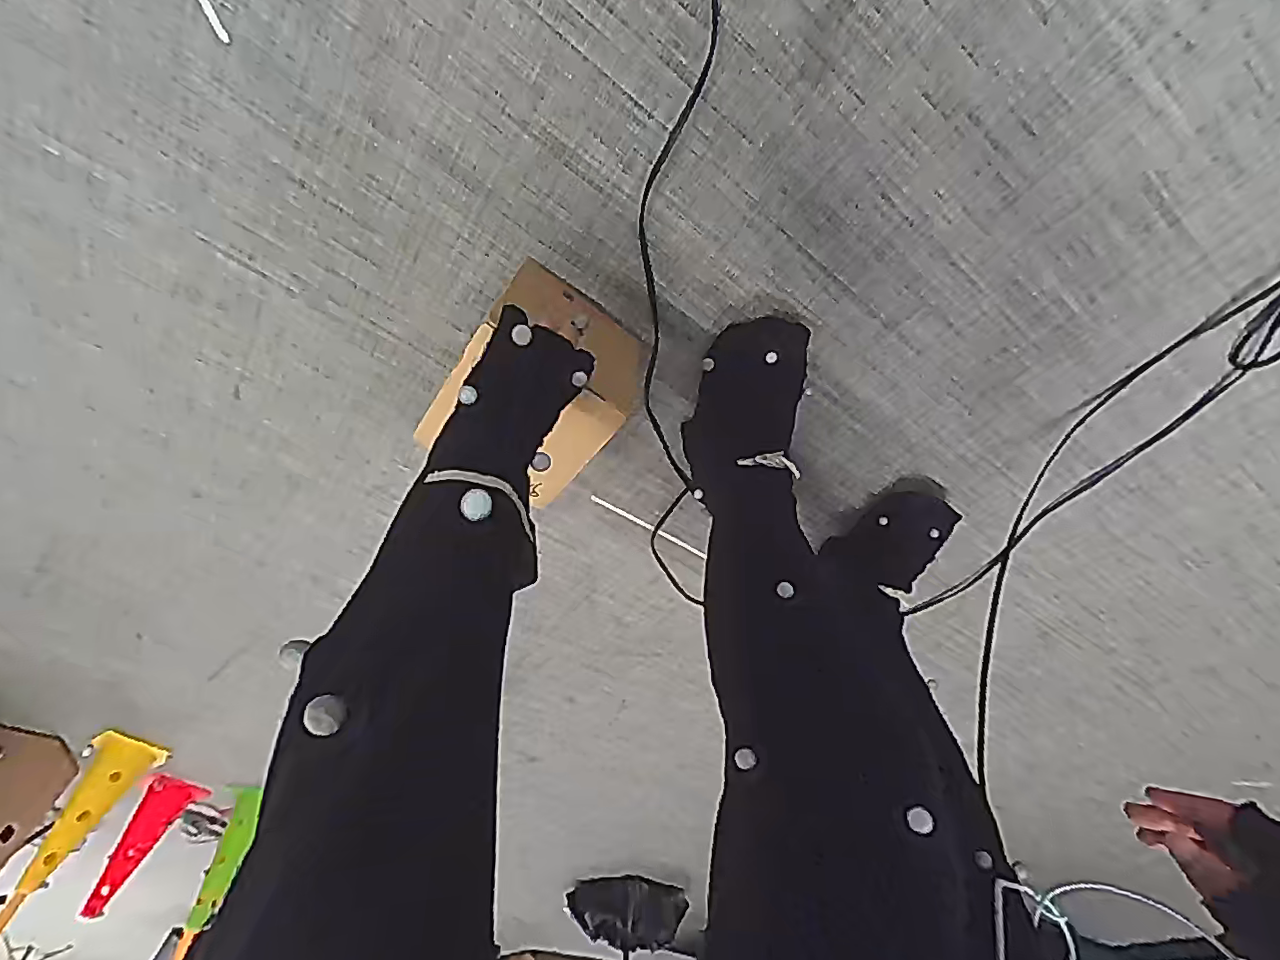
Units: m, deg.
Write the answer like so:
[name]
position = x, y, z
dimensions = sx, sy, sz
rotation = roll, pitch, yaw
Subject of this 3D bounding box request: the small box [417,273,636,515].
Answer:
[small box]
position = -0.118, -0.100, 0.616
dimensions = 0.168, 0.176, 0.179
rotation = 32, 125, -22
